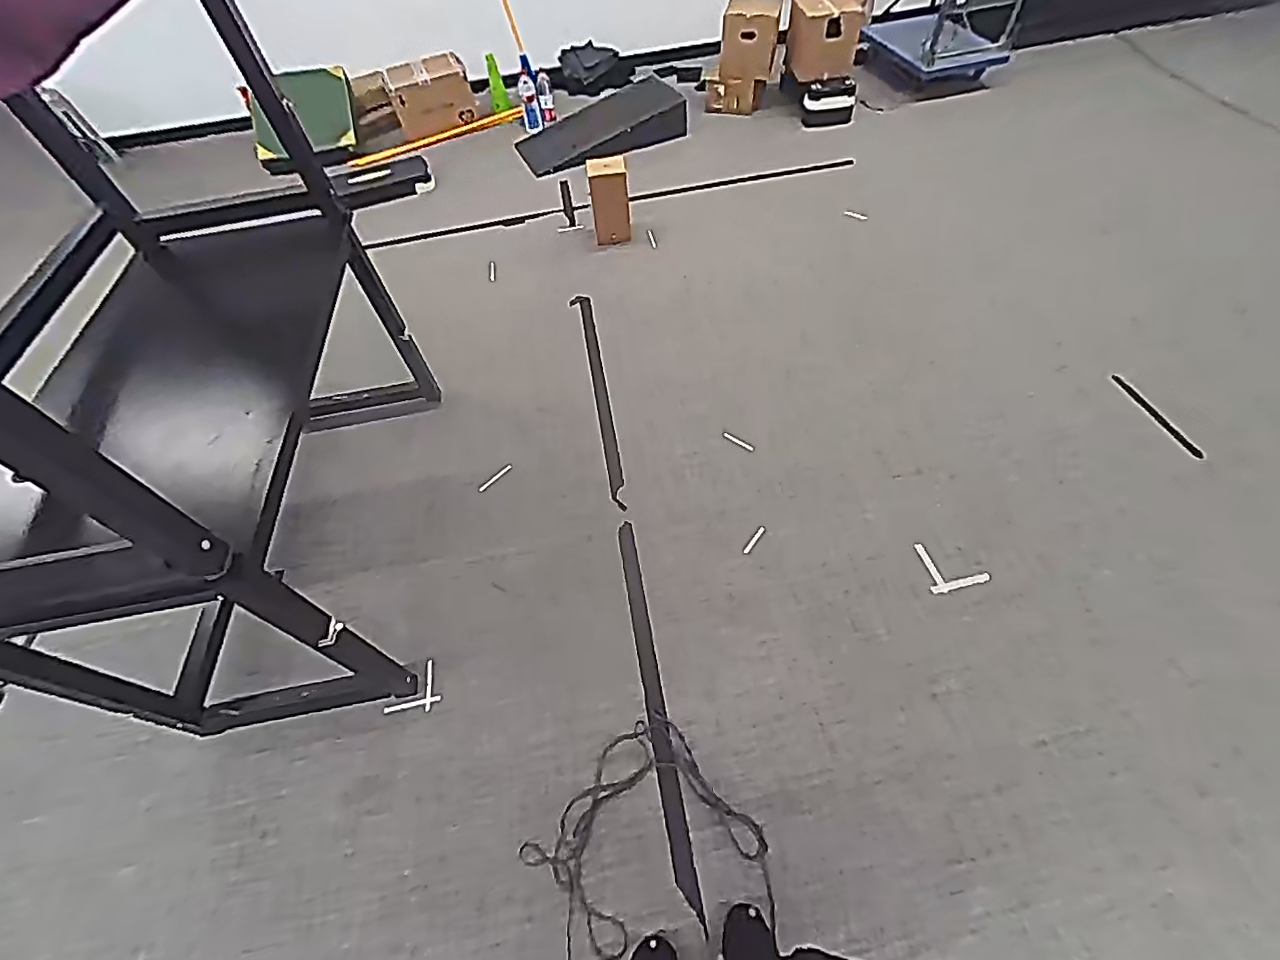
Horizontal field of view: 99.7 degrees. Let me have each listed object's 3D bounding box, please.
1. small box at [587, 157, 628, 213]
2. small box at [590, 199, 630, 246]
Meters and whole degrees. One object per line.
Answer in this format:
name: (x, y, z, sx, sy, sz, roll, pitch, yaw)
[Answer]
small box: (-0.149, -1.377, 2.529, 0.179, 0.176, 0.168, -7, 54, 0)
small box: (-0.144, -1.282, 2.663, 0.179, 0.176, 0.168, -9, 54, -3)
